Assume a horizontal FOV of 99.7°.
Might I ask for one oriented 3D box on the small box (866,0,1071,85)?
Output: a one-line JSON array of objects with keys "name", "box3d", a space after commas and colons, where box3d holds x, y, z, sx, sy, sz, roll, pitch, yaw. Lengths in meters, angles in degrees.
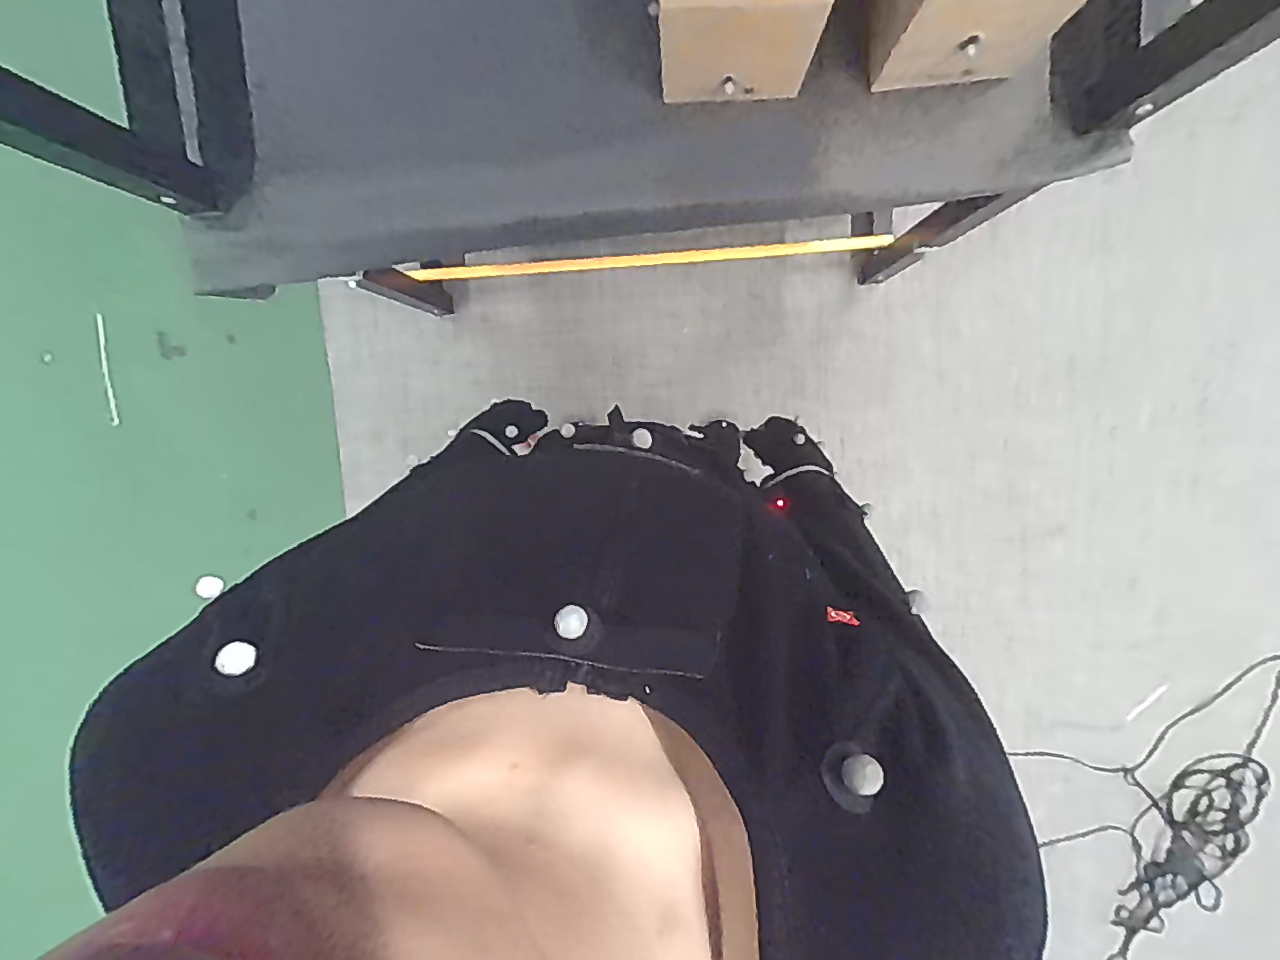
[{"name": "small box", "box3d": [0.349, -0.550, 0.566, 0.168, 0.176, 0.179, -3, 96, 4]}]
